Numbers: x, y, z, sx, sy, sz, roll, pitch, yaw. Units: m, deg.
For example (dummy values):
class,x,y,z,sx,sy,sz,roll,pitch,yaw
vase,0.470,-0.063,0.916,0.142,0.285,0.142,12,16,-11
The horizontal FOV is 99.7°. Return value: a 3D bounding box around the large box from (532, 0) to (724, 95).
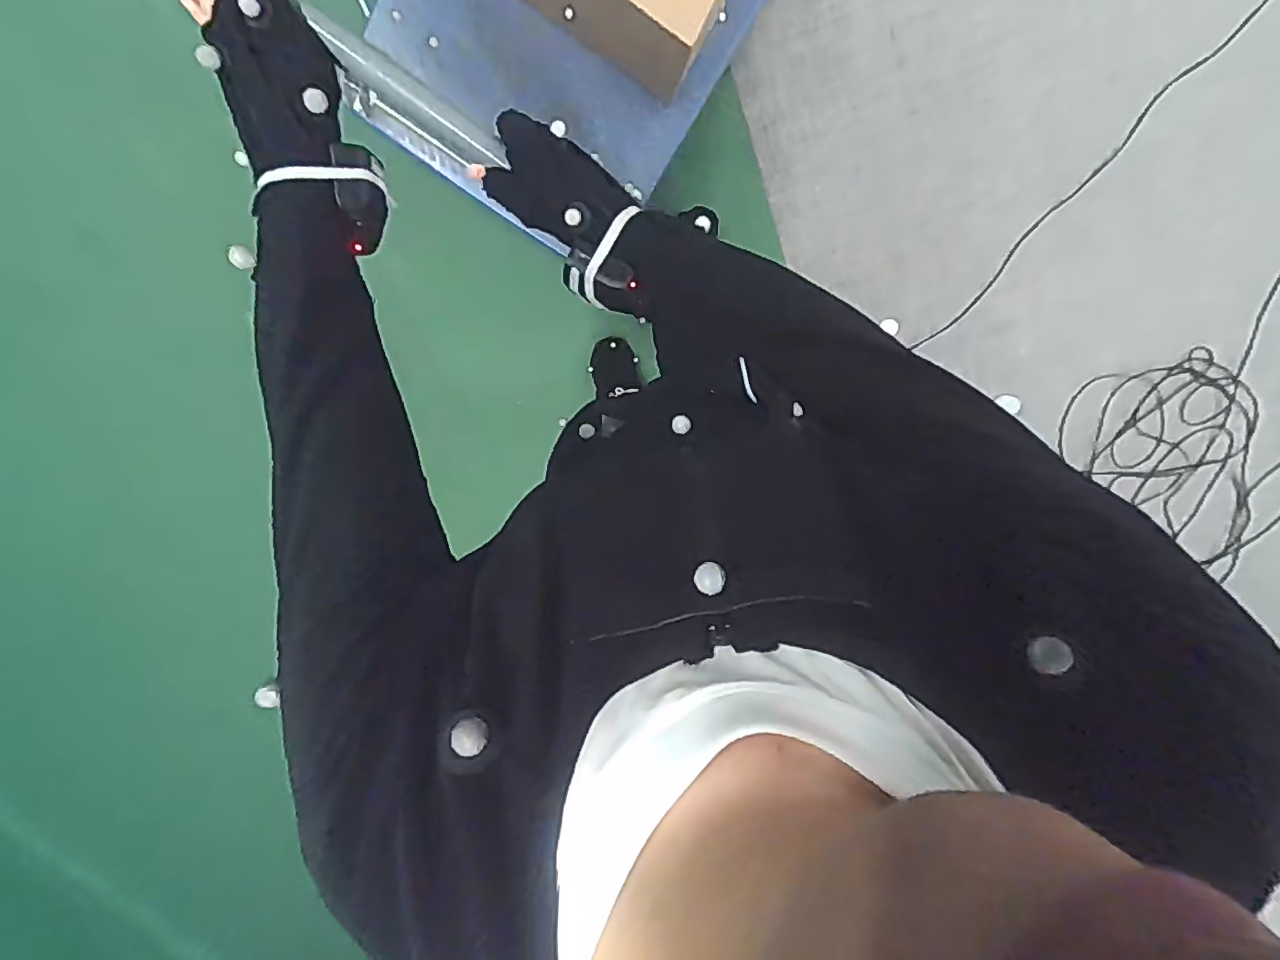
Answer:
class,x,y,z,sx,sy,sz,roll,pitch,yaw
large box,-0.028,-0.886,0.815,0.408,0.320,0.320,28,108,-13
